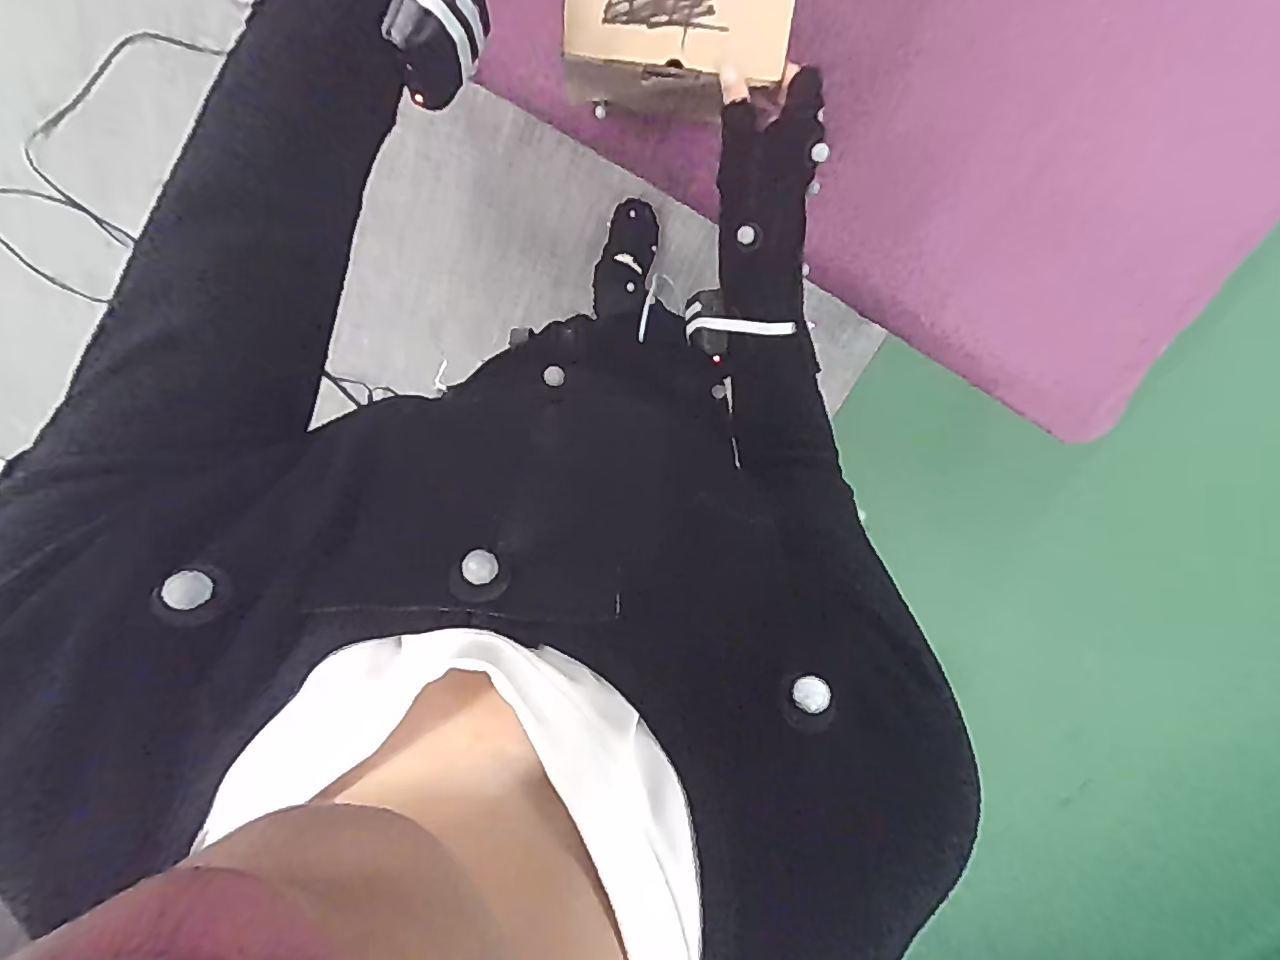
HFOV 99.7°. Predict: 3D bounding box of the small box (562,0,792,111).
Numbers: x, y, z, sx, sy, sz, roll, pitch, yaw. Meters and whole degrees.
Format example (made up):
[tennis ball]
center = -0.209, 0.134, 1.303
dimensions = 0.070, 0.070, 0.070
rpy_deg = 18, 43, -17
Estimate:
[small box]
center = 0.029, -0.421, 0.437
dimensions = 0.168, 0.176, 0.179
rpy_deg = 4, 115, -6
